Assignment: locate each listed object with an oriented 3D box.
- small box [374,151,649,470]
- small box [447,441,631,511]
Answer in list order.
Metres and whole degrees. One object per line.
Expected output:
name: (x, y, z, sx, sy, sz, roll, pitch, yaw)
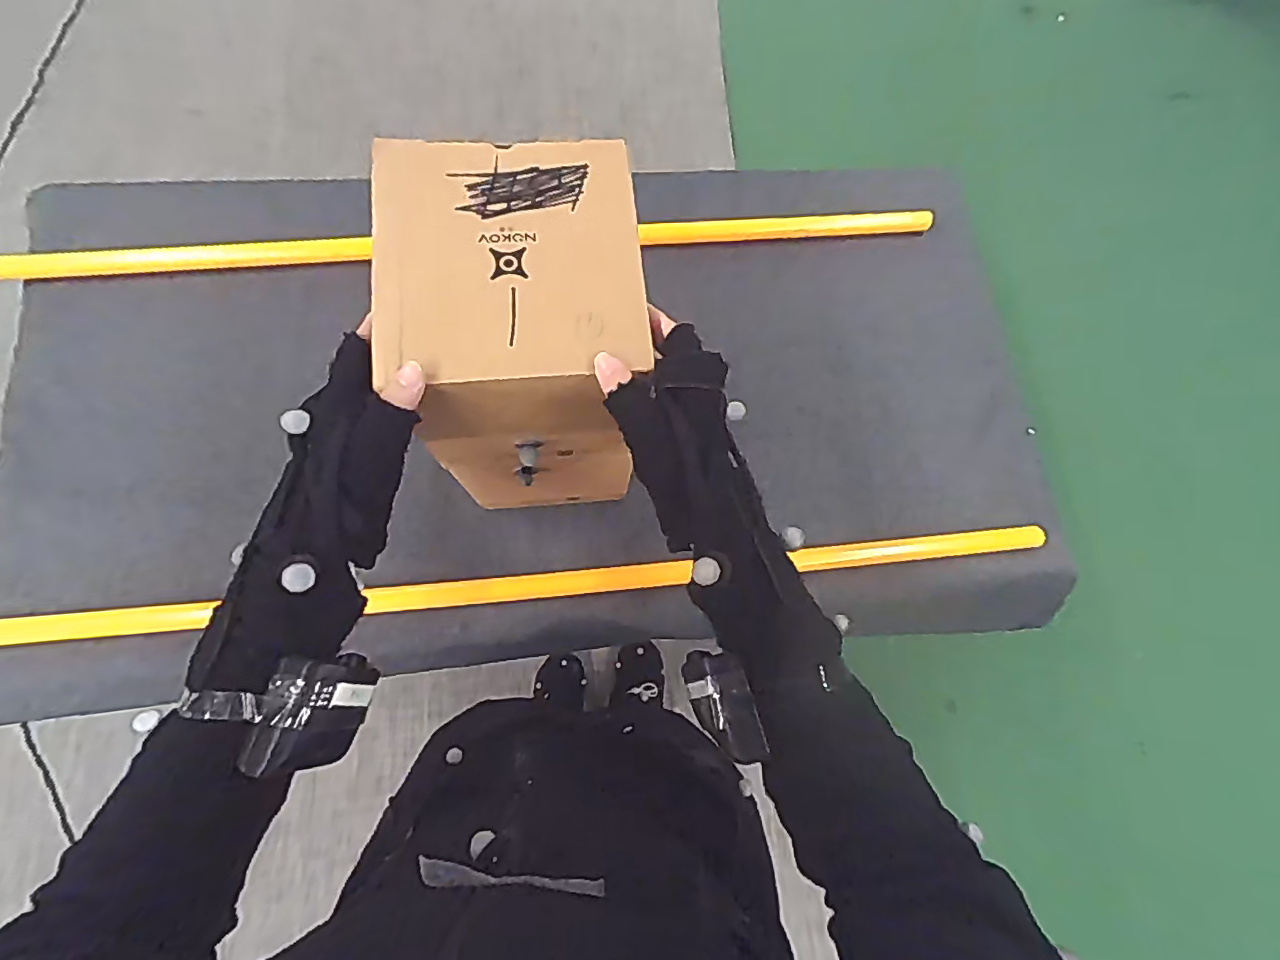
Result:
small box: (-0.091, -0.119, 0.423, 0.168, 0.176, 0.179, -5, 75, -7)
small box: (-0.103, -0.075, 0.581, 0.168, 0.176, 0.179, -5, 74, -6)
